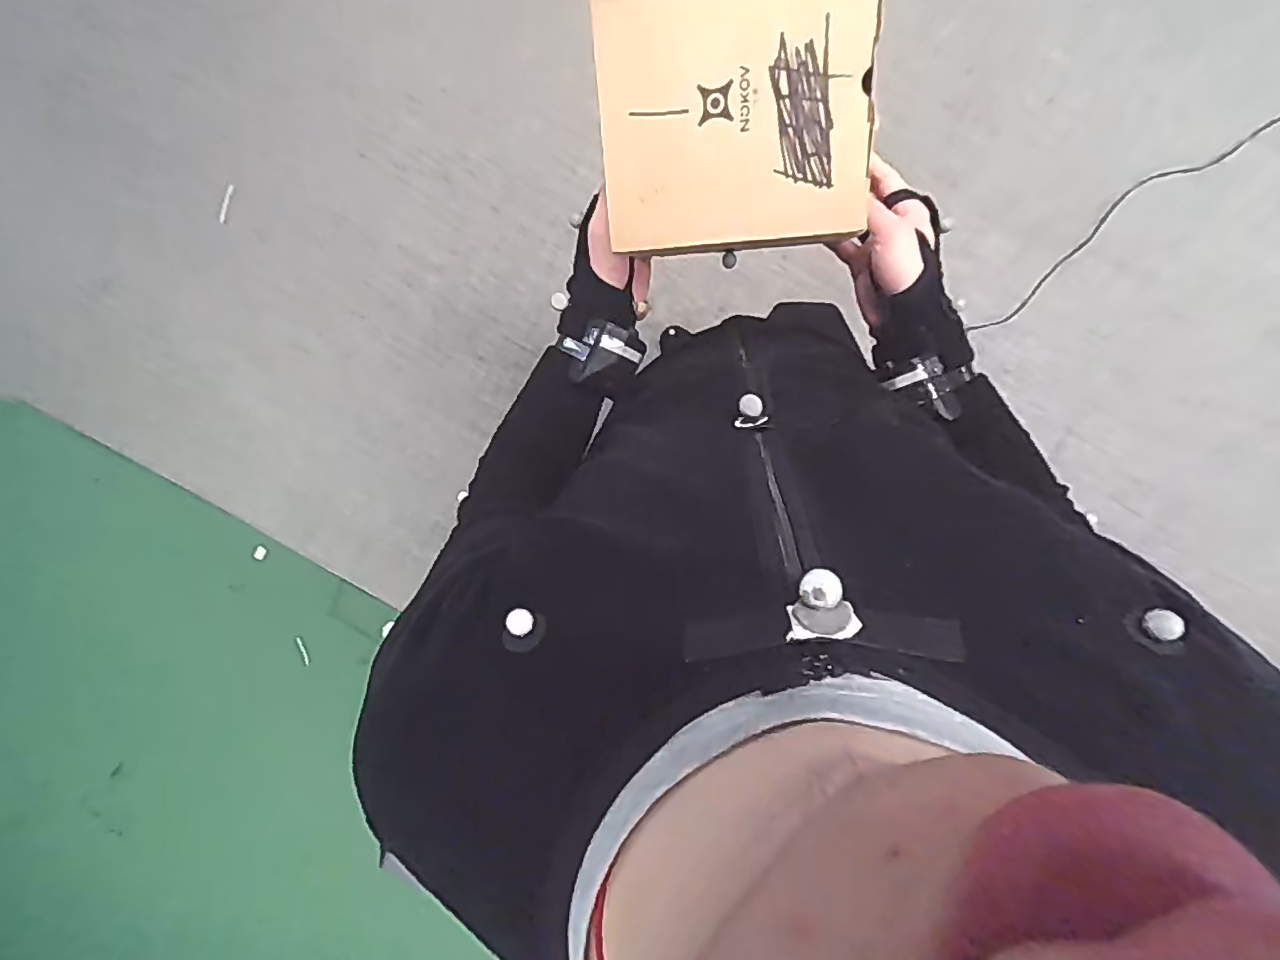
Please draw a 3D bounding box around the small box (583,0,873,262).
[{"bbox_3d":[0.072,-0.264,0.418,0.179,0.176,0.168,2,111,16],"label":"small box"}]
